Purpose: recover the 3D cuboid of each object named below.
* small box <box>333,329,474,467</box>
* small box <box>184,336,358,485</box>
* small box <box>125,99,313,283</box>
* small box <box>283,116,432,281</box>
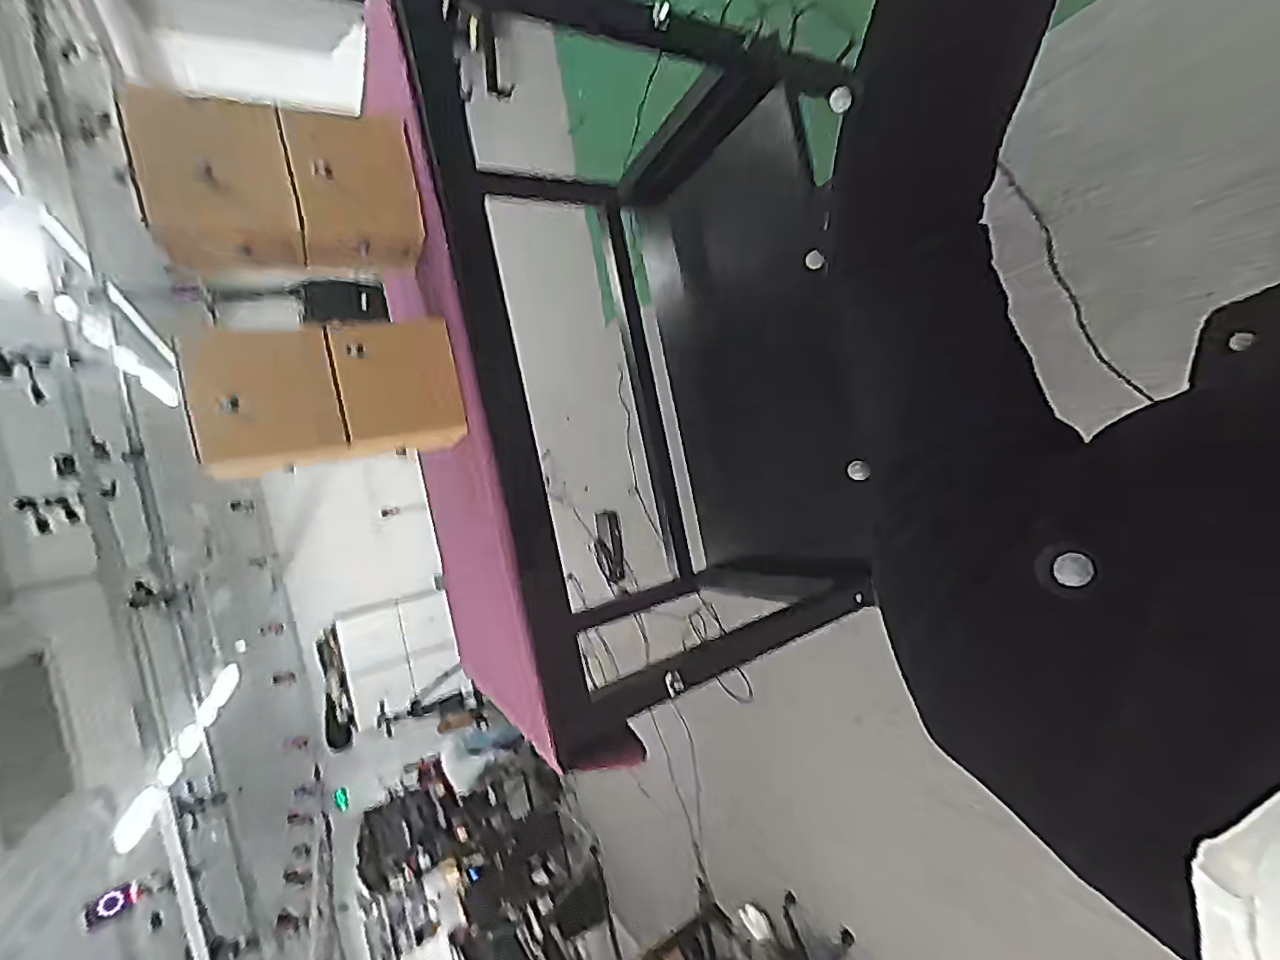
[{"bbox_3d":[-0.375,-0.128,0.862,0.168,0.176,0.179,-13,90,61],"label":"small box"},{"bbox_3d":[-0.517,-0.098,0.783,0.168,0.176,0.179,-10,91,60],"label":"small box"},{"bbox_3d":[-0.576,-0.398,0.771,0.168,0.176,0.179,-5,98,59],"label":"small box"},{"bbox_3d":[-0.437,-0.430,0.850,0.168,0.176,0.179,-3,99,60],"label":"small box"}]
